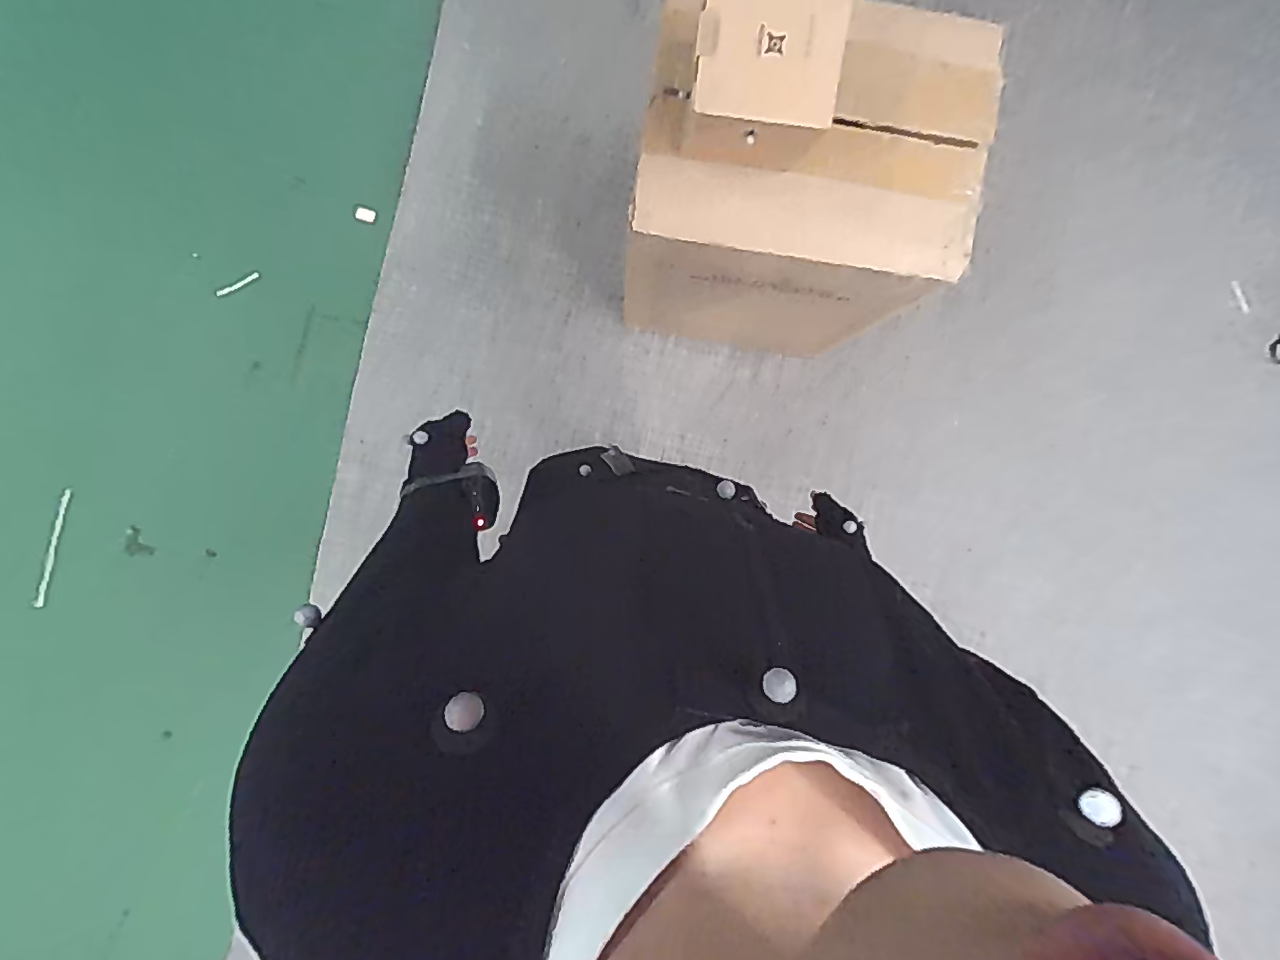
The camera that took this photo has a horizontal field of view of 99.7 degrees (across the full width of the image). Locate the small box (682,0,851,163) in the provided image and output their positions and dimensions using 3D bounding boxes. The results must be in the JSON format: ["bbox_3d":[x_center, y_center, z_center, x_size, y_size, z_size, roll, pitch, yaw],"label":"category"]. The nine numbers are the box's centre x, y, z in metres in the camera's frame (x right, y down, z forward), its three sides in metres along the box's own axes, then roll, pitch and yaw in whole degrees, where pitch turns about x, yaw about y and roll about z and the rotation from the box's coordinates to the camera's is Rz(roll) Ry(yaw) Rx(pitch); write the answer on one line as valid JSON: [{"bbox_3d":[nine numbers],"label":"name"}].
[{"bbox_3d":[0.155,-0.545,0.721,0.179,0.176,0.168,5,105,-3],"label":"small box"}]
